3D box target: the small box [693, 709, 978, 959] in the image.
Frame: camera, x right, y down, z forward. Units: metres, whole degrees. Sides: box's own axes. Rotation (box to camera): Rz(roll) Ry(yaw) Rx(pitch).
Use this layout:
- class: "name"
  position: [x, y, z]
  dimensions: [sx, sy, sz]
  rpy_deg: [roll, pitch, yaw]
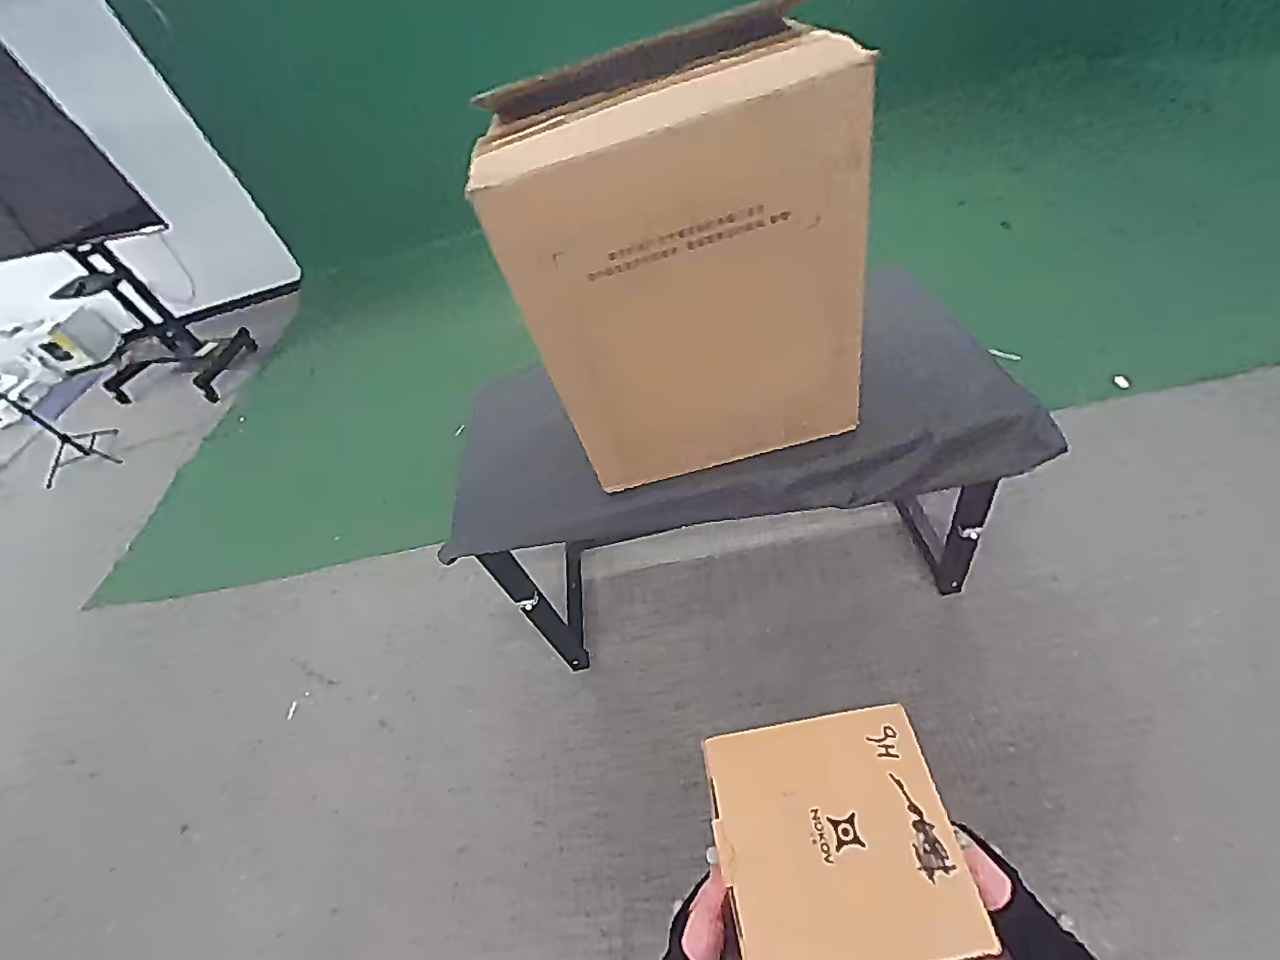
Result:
- class: "small box"
  position: [0.153, 0.323, 0.486]
  dimensions: [0.179, 0.176, 0.168]
  rpy_deg: [-11, 54, 3]
